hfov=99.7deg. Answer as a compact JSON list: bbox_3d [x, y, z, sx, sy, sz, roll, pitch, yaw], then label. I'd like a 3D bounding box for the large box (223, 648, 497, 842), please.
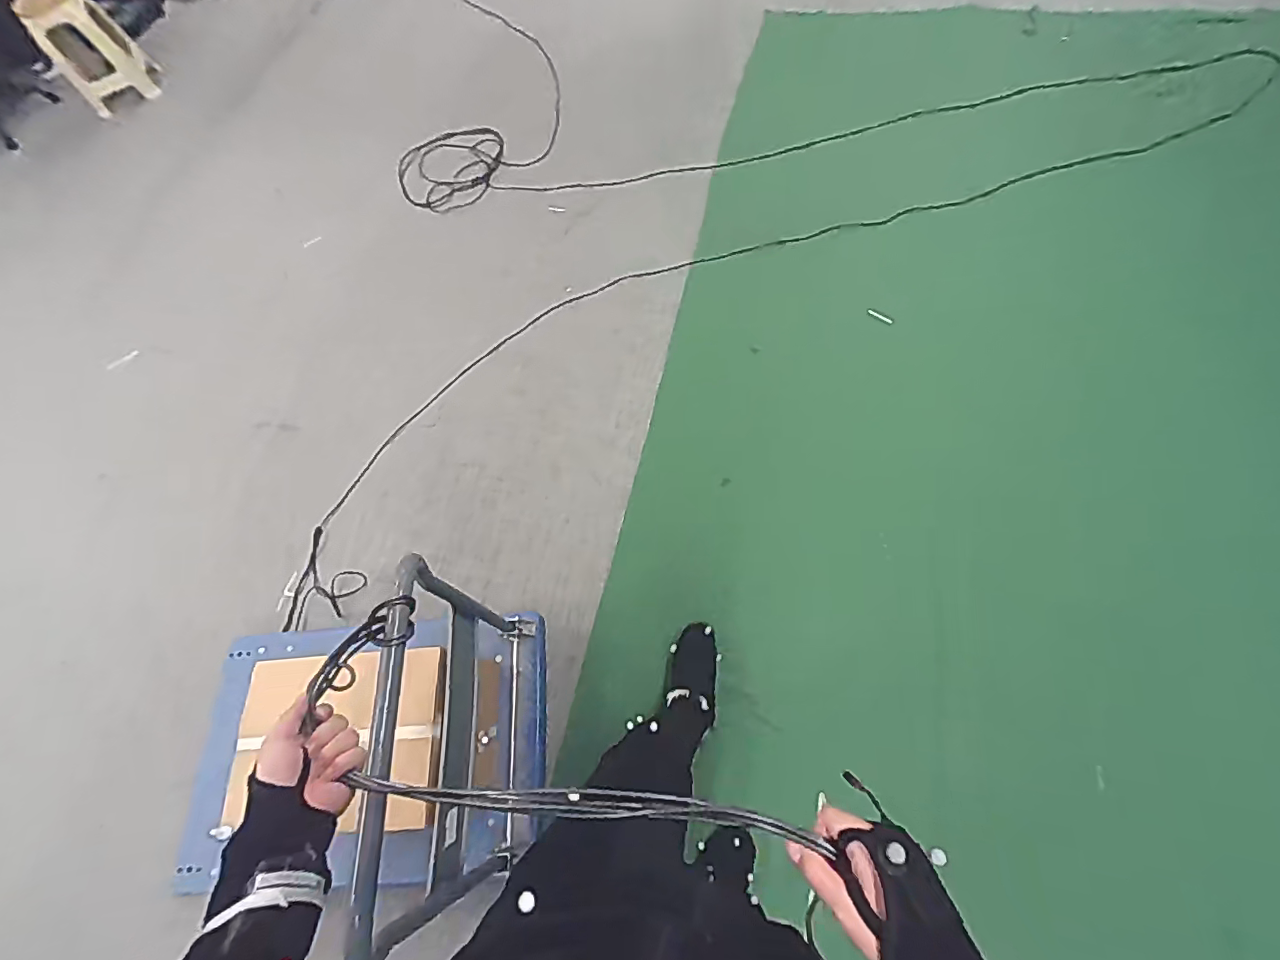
[{"bbox_3d":[-0.554,0.555,1.160,0.408,0.320,0.320,-7,64,6],"label":"large box"}]
